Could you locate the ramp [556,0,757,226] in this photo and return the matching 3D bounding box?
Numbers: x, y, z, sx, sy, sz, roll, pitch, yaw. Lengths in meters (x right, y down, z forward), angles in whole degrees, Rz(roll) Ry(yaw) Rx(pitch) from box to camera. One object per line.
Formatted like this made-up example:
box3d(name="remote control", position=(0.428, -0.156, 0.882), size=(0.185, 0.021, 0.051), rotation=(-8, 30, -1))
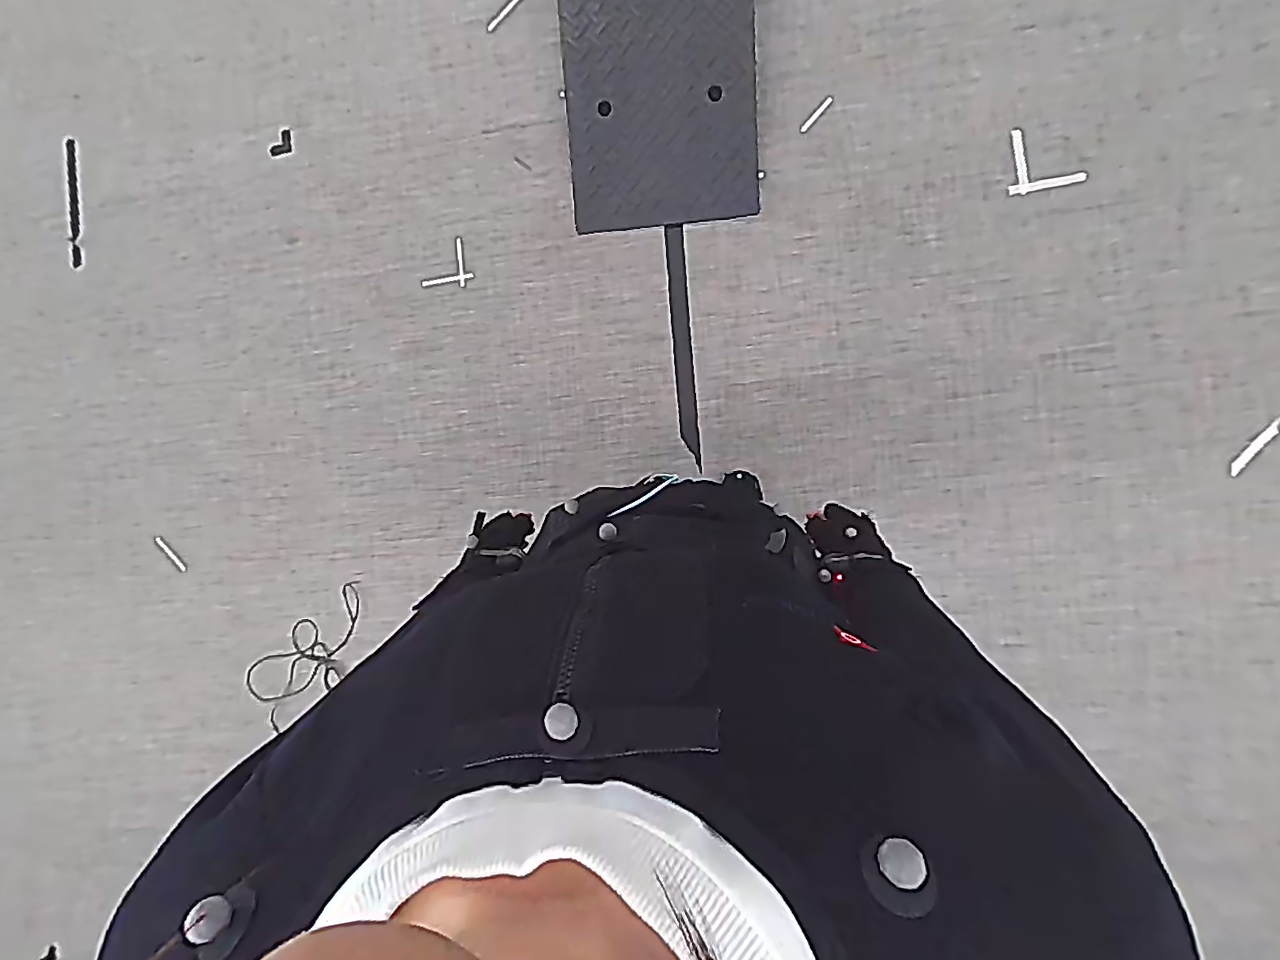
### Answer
box3d(name="ramp", position=(0.031, -1.187, 1.343), size=(0.509, 0.206, 0.991), rotation=(-4, 91, 7))
